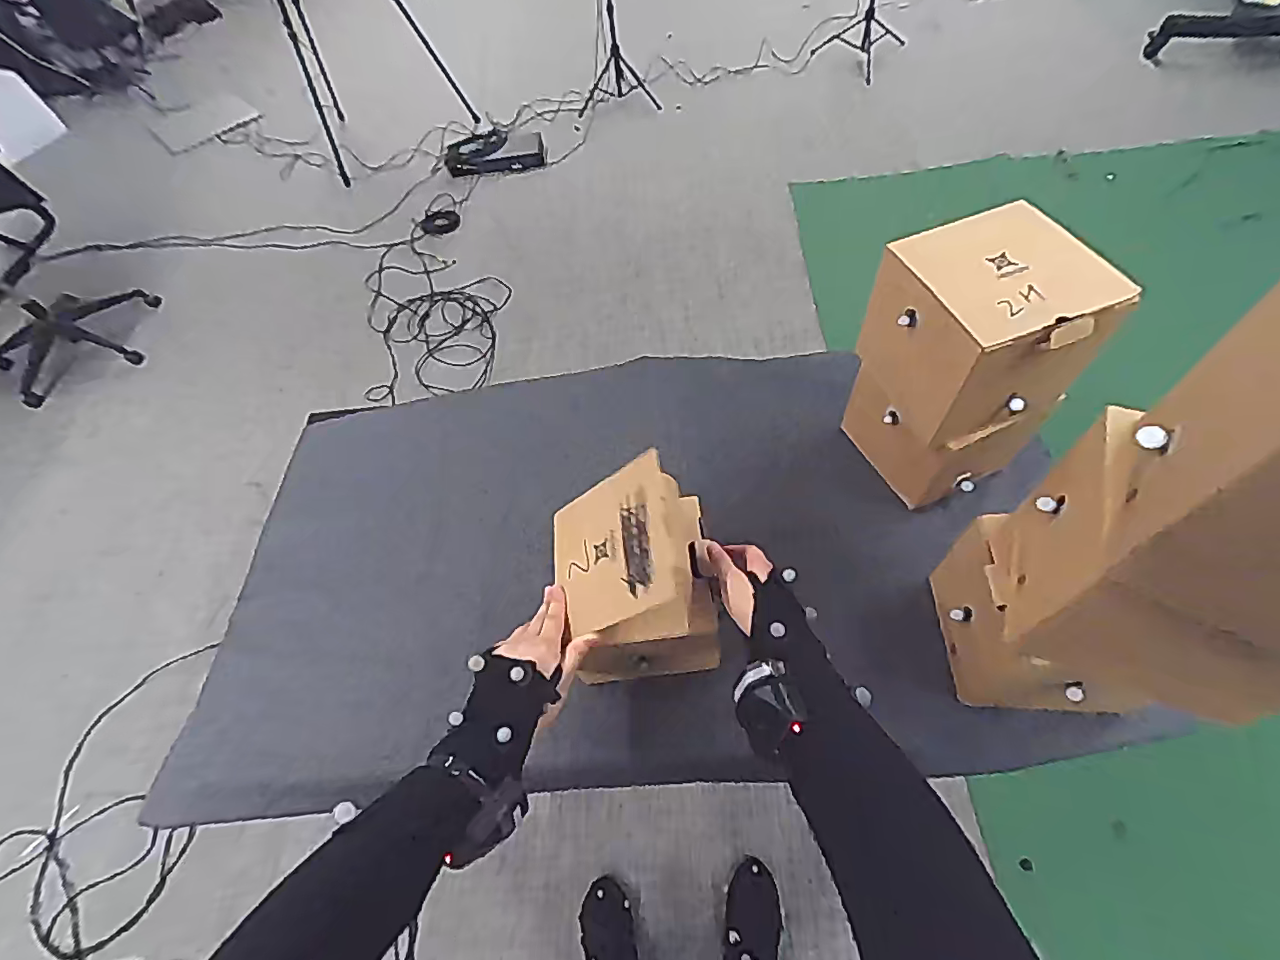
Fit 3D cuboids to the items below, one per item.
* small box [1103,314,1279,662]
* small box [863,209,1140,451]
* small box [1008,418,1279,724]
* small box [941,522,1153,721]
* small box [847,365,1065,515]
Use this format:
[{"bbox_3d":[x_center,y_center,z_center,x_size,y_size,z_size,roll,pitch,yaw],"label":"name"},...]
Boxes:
[{"bbox_3d":[0.422,0.006,0.303,0.179,0.176,0.168,27,62,24],"label":"small box"},{"bbox_3d":[0.380,-0.164,0.615,0.168,0.176,0.179,-19,59,-1],"label":"small box"},{"bbox_3d":[0.441,0.080,0.451,0.179,0.176,0.168,18,59,18],"label":"small box"},{"bbox_3d":[0.456,0.159,0.594,0.179,0.176,0.168,-1,55,8],"label":"small box"},{"bbox_3d":[0.417,-0.081,0.755,0.168,0.176,0.179,-25,60,-5],"label":"small box"}]
